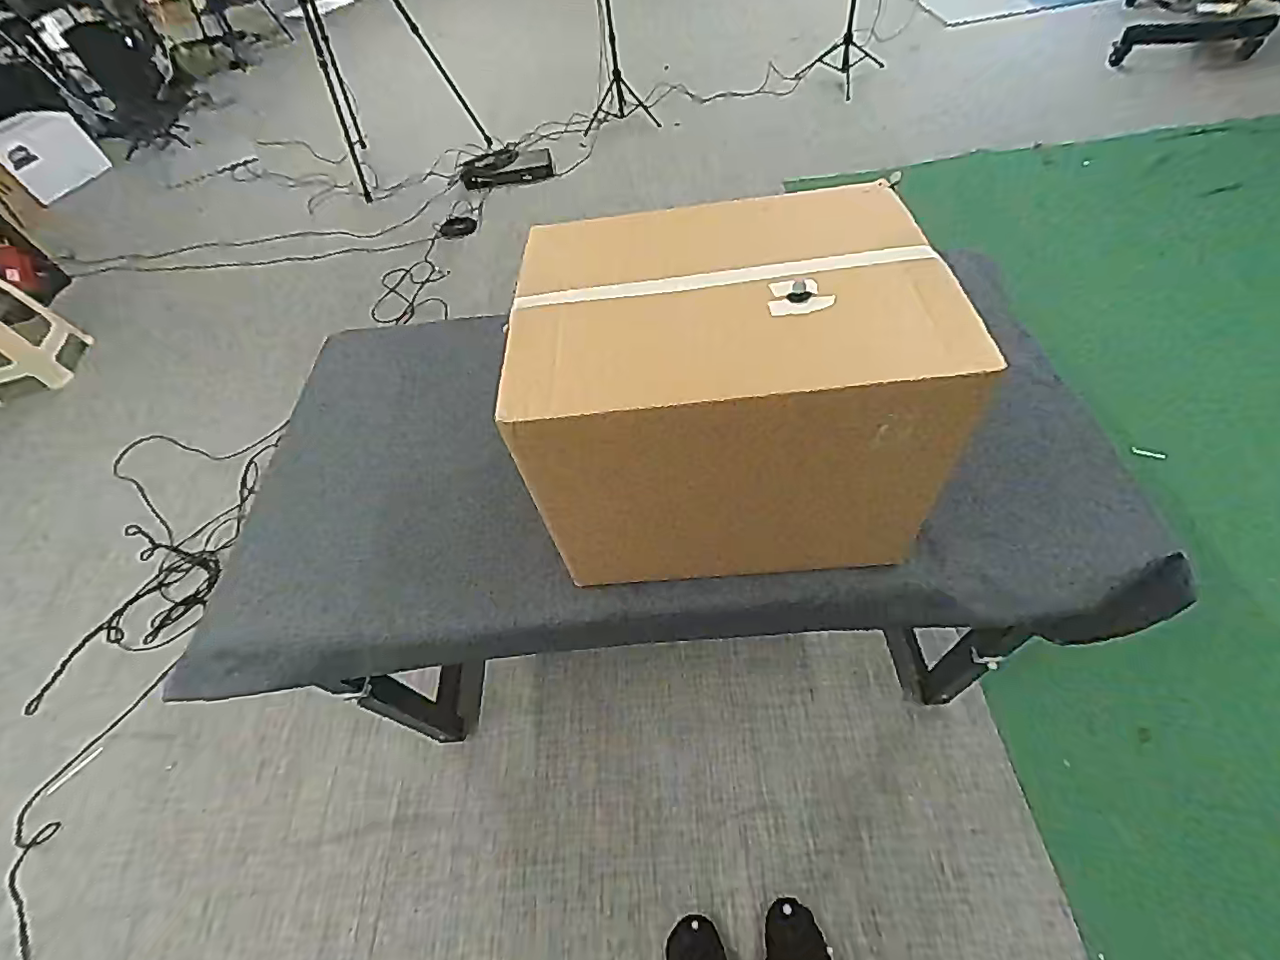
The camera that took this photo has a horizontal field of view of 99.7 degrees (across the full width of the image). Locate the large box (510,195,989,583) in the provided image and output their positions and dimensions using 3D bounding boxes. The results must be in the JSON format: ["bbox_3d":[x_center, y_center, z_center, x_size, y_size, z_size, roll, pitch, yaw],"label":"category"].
[{"bbox_3d":[0.095,-0.095,0.651,0.408,0.320,0.320,-5,52,4],"label":"large box"}]
